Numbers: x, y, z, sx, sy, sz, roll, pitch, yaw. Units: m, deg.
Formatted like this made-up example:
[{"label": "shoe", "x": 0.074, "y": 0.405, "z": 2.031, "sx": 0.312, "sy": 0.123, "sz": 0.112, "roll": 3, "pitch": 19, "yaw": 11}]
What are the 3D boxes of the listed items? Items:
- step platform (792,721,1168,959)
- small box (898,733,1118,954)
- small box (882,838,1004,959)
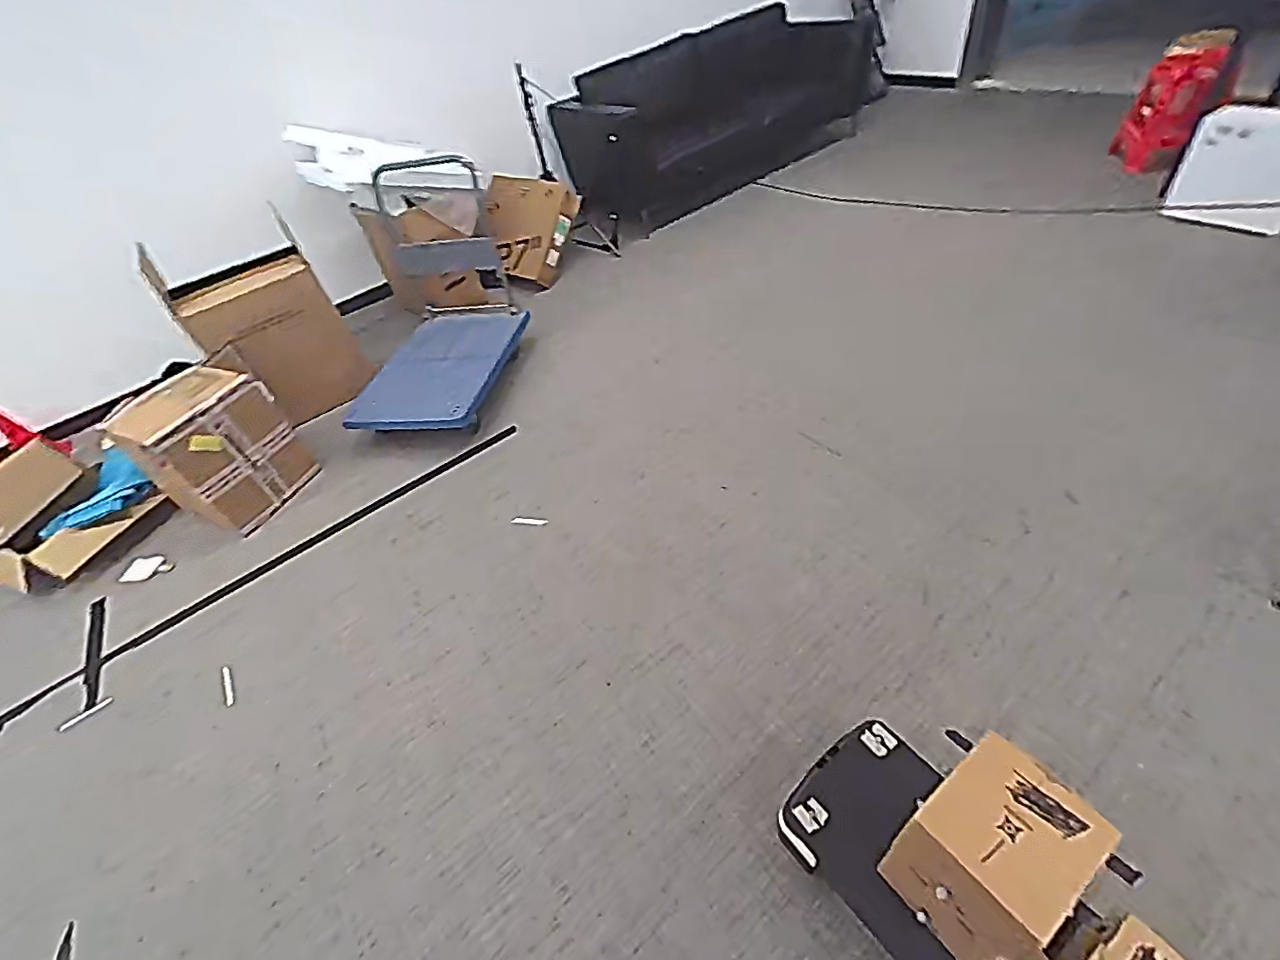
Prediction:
[{"label": "step platform", "x": 0.598, "y": 0.766, "z": 0.922, "sx": 0.286, "sy": 0.204, "sz": 0.684, "roll": -33, "pitch": 47, "yaw": -20}, {"label": "small box", "x": 0.482, "y": 0.494, "z": 0.738, "sx": 0.179, "sy": 0.176, "sz": 0.168, "roll": -32, "pitch": 47, "yaw": -19}, {"label": "small box", "x": 0.507, "y": 0.612, "z": 0.849, "sx": 0.179, "sy": 0.176, "sz": 0.168, "roll": -32, "pitch": 47, "yaw": -18}]
